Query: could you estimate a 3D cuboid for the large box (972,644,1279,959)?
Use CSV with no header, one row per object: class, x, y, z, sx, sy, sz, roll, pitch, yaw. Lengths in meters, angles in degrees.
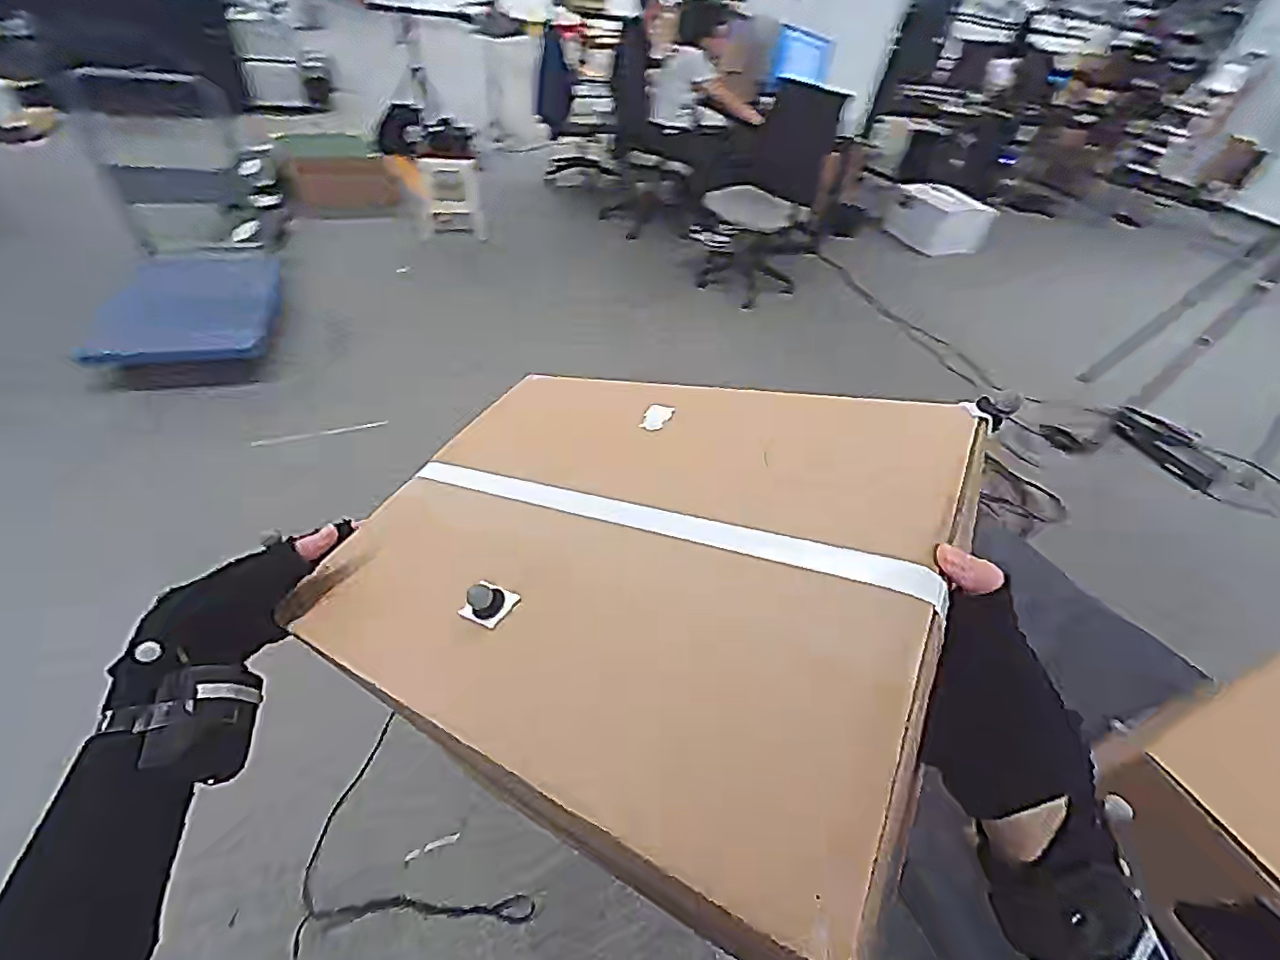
large box,0.681,0.425,0.584,0.408,0.320,0.320,-11,48,-23
